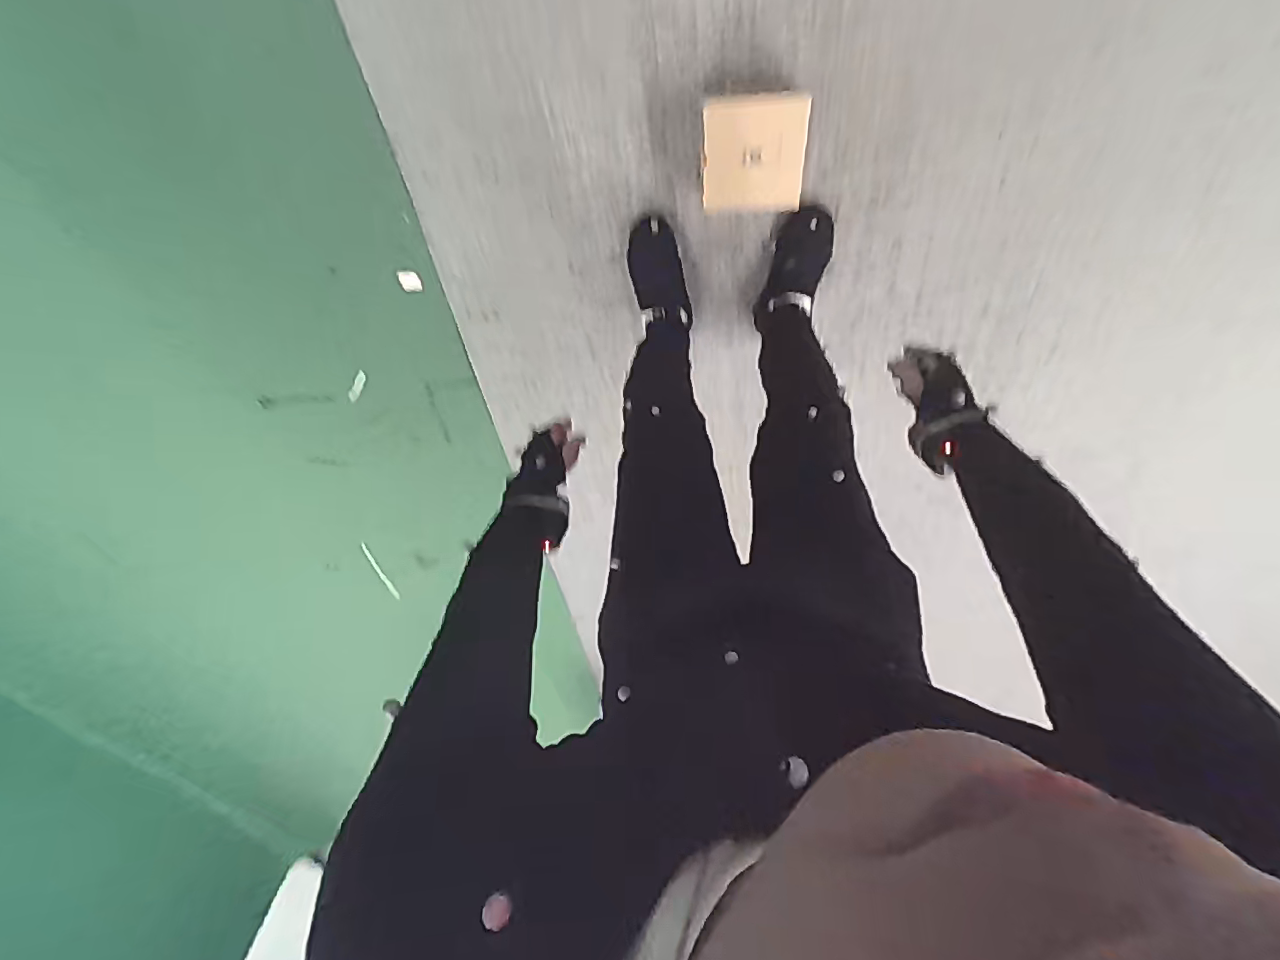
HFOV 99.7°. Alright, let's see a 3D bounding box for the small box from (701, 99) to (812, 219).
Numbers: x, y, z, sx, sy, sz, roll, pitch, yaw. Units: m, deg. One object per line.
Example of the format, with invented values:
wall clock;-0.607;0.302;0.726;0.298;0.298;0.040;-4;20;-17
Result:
small box;0.203;-0.592;0.996;0.179;0.176;0.168;0;131;5
